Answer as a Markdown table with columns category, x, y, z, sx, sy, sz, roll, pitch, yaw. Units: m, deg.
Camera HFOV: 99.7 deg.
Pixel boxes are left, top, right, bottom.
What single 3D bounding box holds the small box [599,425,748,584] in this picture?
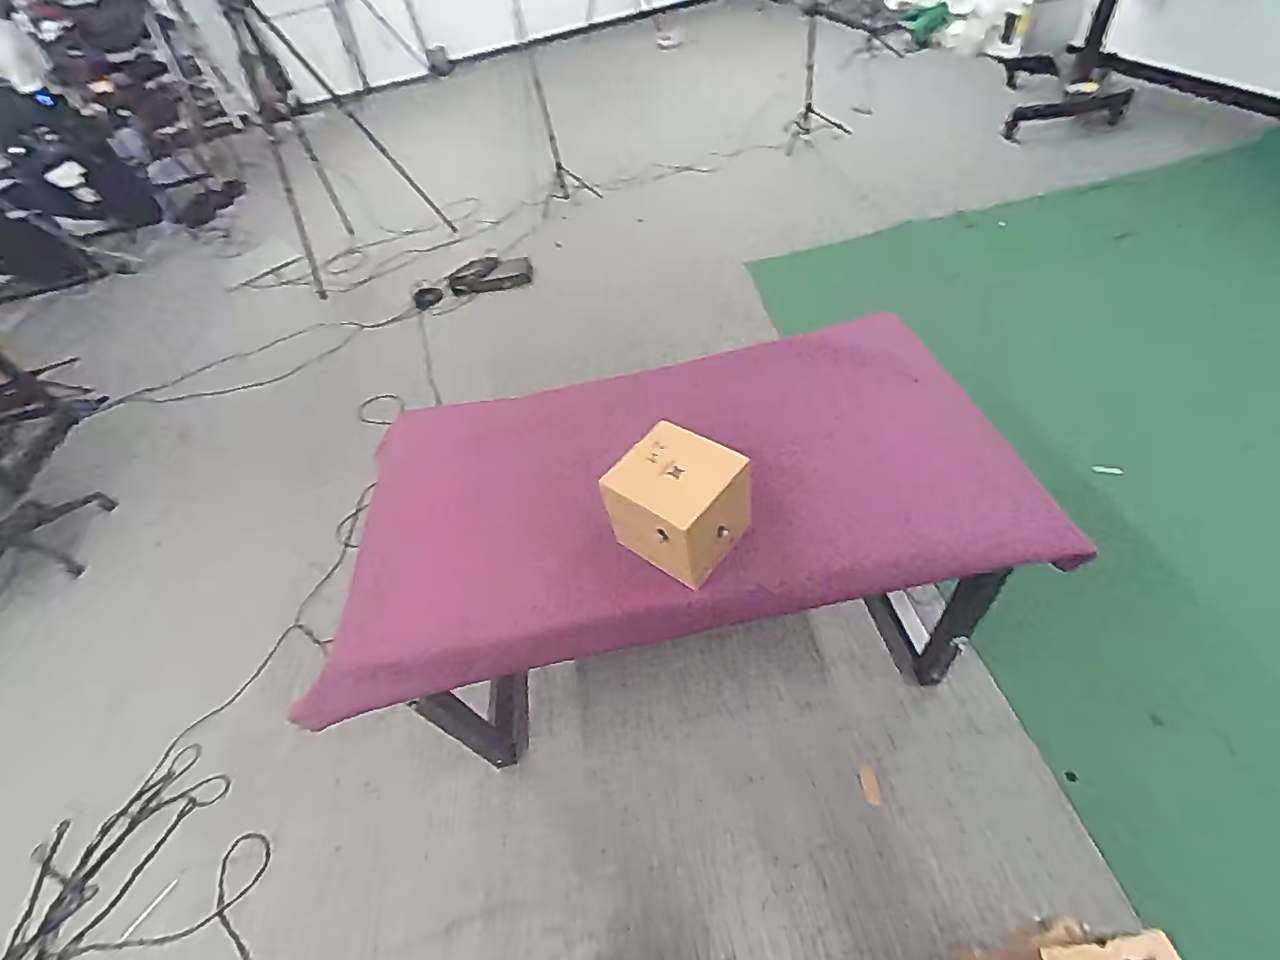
| category | x | y | z | sx | sy | sz | roll | pitch | yaw |
| --- | --- | --- | --- | --- | --- | --- | --- | --- | --- |
| small box | 0.064 | 0.045 | 0.890 | 0.179 | 0.176 | 0.168 | 28 | 59 | 32 |

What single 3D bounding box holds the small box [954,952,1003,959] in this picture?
| category | x | y | z | sx | sy | sz | roll | pitch | yaw |
| --- | --- | --- | --- | --- | --- | --- | --- | --- | --- |
| small box | 0.675 | 0.943 | 0.949 | 0.179 | 0.176 | 0.168 | -5 | 49 | 9 |

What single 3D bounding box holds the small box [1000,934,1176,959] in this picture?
| category | x | y | z | sx | sy | sz | roll | pitch | yaw |
| --- | --- | --- | --- | --- | --- | --- | --- | --- | --- |
| small box | 0.620 | 0.723 | 0.710 | 0.168 | 0.176 | 0.179 | -11 | 49 | 2 |
